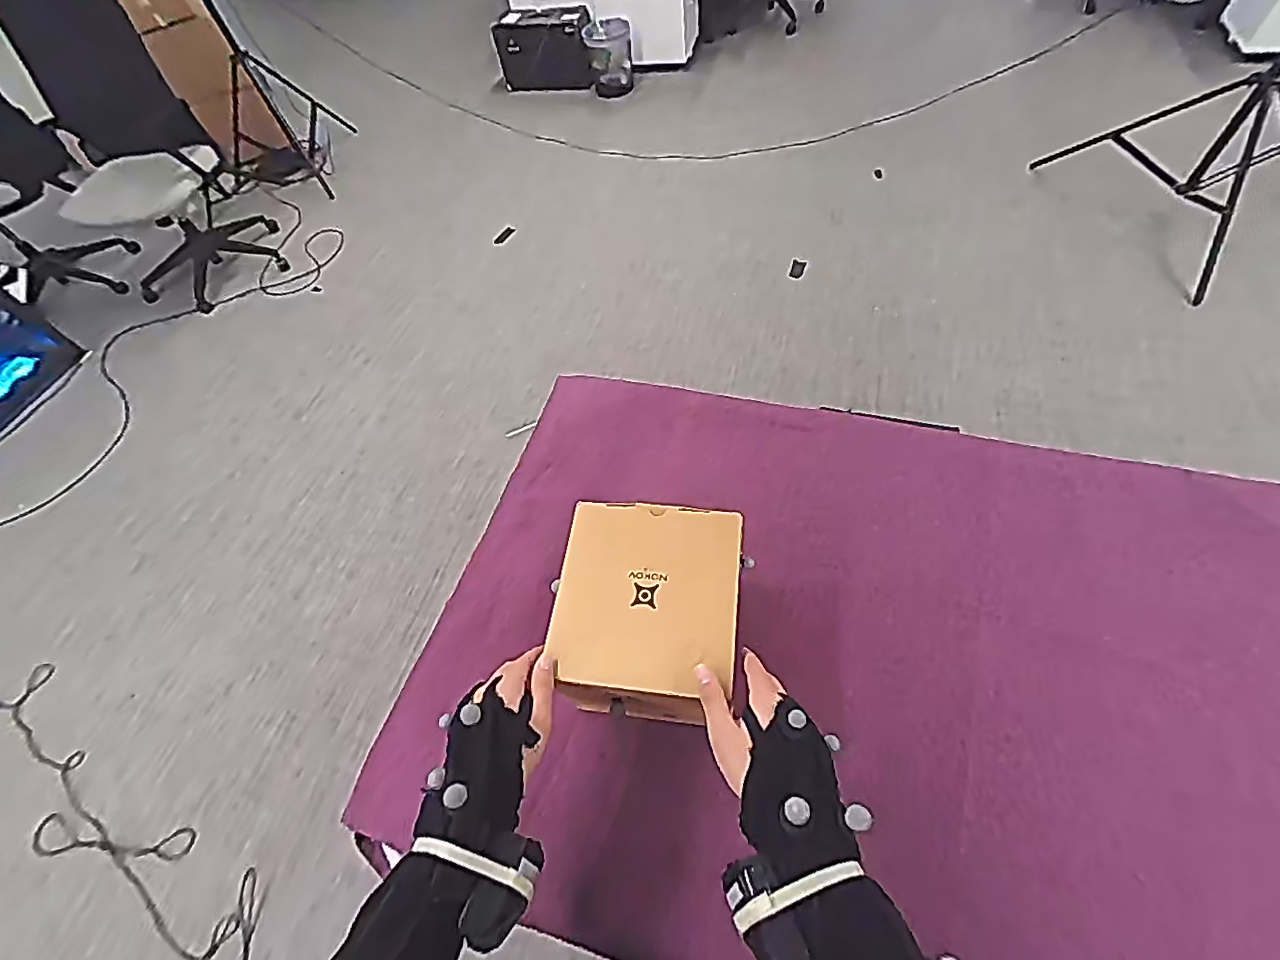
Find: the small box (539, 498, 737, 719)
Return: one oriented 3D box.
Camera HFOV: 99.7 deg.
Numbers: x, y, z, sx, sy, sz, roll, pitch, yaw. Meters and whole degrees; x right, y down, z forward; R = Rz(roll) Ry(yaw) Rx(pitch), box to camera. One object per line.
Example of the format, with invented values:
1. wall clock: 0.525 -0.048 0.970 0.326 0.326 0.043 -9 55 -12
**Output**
1. small box: 0.013 0.138 0.560 0.168 0.176 0.179 3 58 10
